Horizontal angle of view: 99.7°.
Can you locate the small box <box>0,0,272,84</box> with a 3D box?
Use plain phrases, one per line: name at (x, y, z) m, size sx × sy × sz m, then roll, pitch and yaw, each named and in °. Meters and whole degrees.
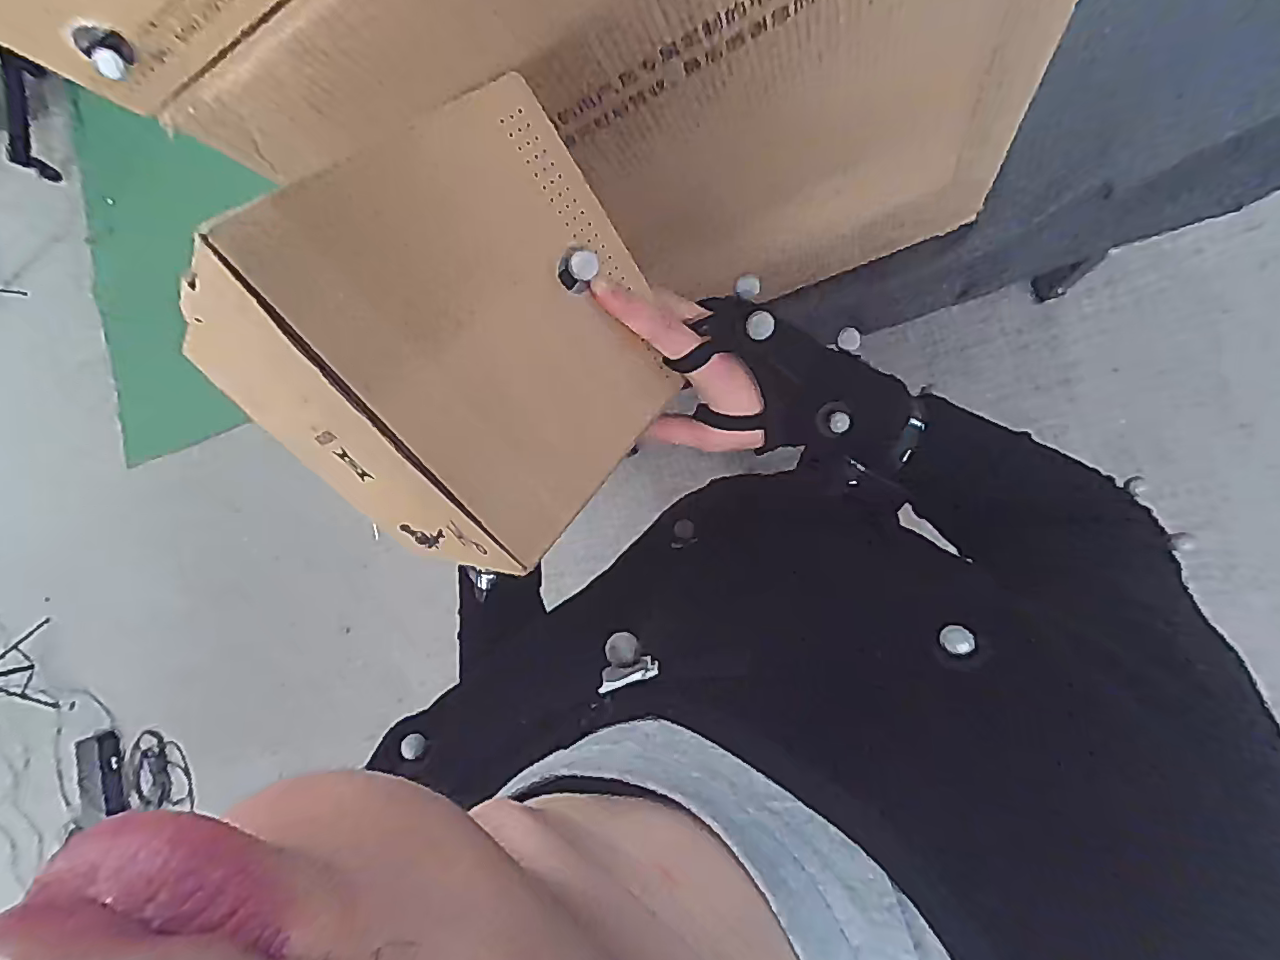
small box at (-0.249, -0.299, 0.201) m, size 0.168 × 0.176 × 0.179 m, roll -15°, pitch 84°, yaw 21°
